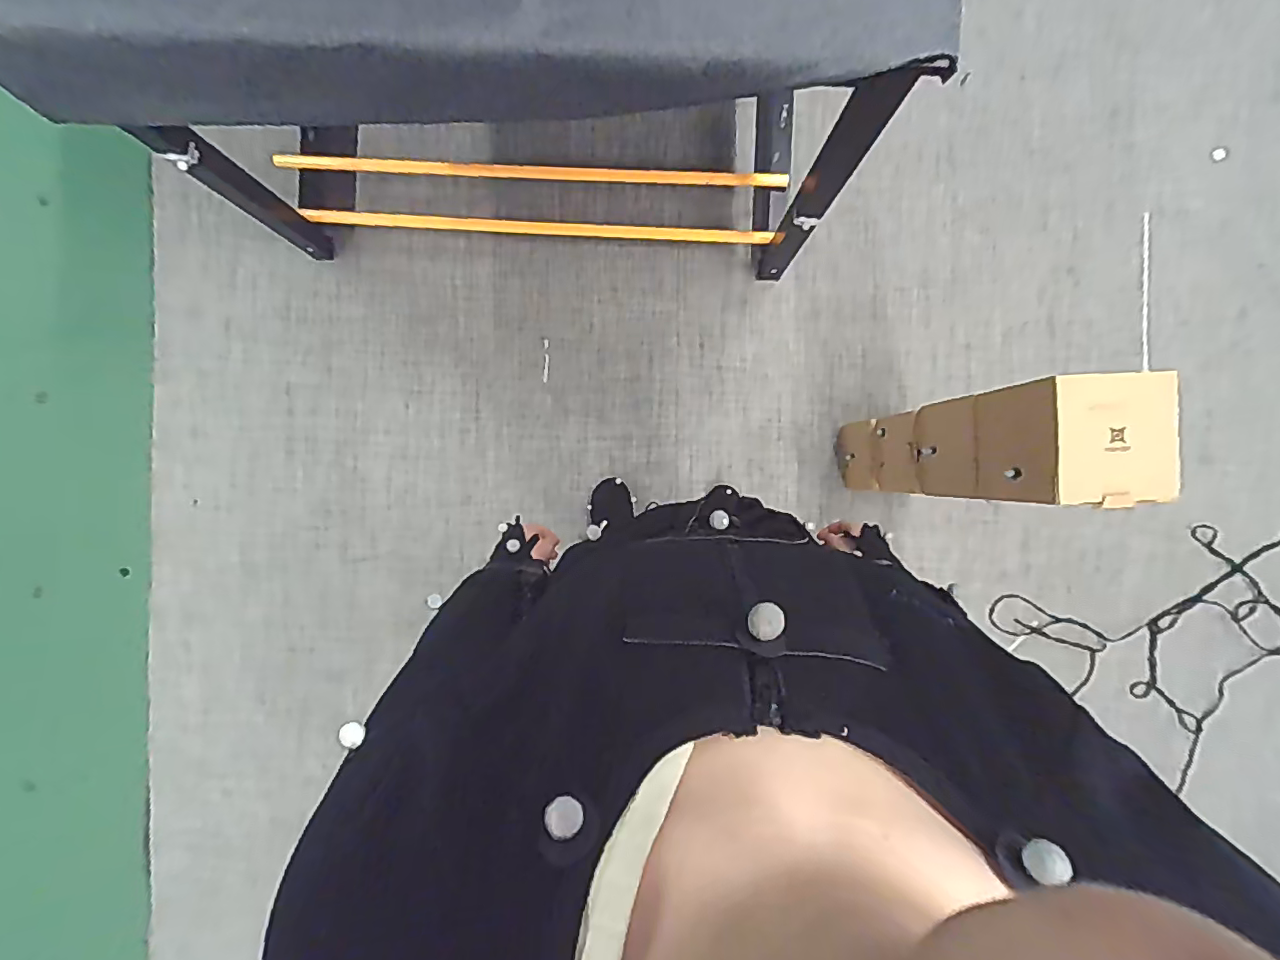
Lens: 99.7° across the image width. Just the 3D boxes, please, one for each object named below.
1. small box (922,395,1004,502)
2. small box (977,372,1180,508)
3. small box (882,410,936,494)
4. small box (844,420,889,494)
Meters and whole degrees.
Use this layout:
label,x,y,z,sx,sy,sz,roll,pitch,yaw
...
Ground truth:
label,x,y,z,sx,sy,sz,roll,pitch,yaw
small box,0.623,-0.056,0.955,0.168,0.176,0.179,-3,91,-1
small box,0.626,-0.054,0.792,0.168,0.176,0.179,-3,90,-1
small box,0.618,-0.055,1.118,0.179,0.176,0.168,-3,90,-1
small box,0.605,-0.056,1.282,0.179,0.176,0.168,-4,89,0
